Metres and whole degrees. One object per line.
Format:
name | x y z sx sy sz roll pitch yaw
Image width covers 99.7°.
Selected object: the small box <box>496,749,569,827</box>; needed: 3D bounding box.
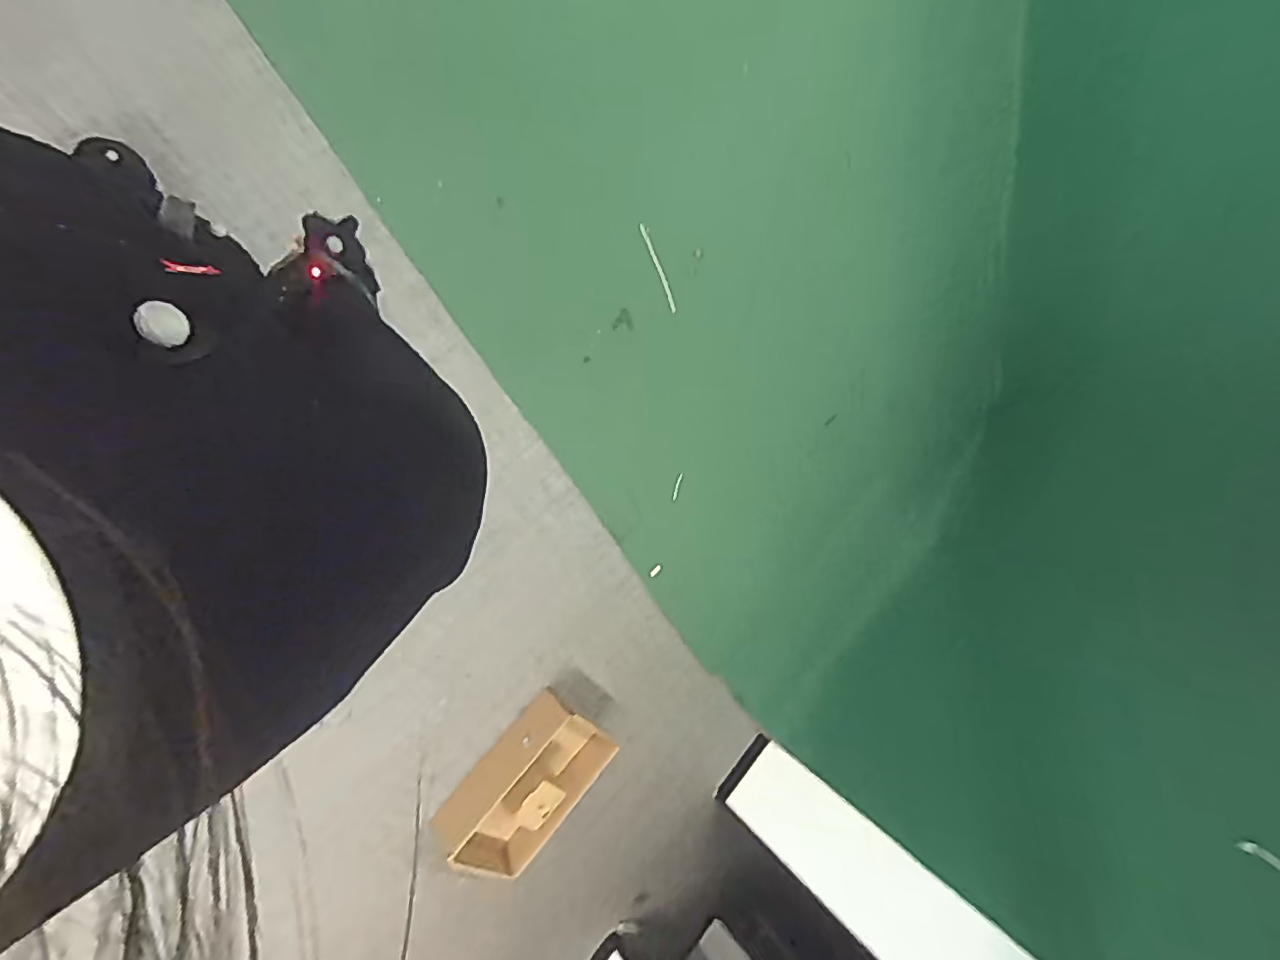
small box | -0.407 1.147 2.024 0.168 0.176 0.179 -46 132 -16
